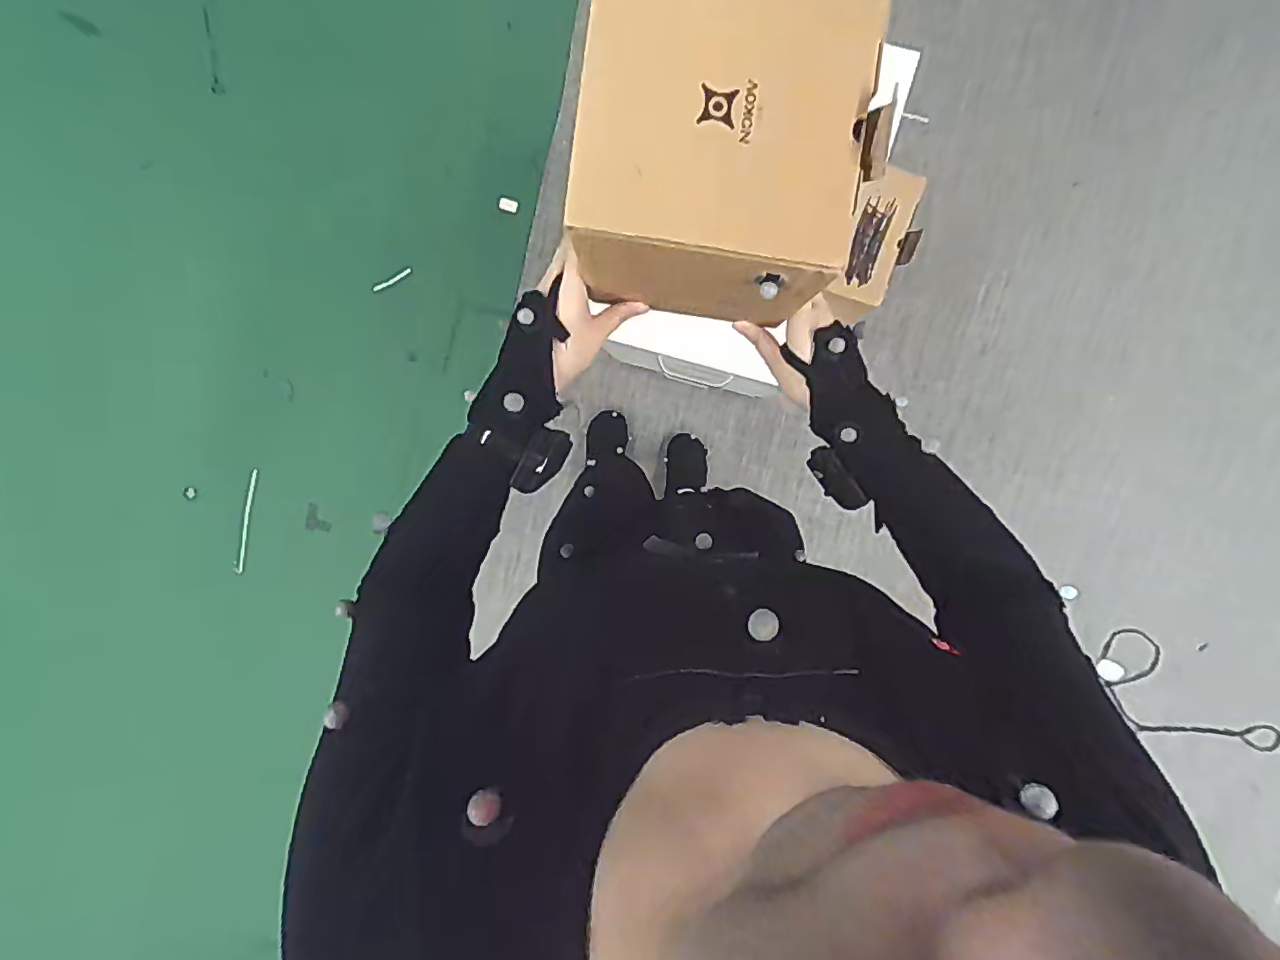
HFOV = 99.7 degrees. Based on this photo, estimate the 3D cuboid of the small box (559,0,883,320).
[{"bbox_3d":[0.046,-0.227,0.402,0.179,0.176,0.168,8,94,-2],"label":"small box"}]
